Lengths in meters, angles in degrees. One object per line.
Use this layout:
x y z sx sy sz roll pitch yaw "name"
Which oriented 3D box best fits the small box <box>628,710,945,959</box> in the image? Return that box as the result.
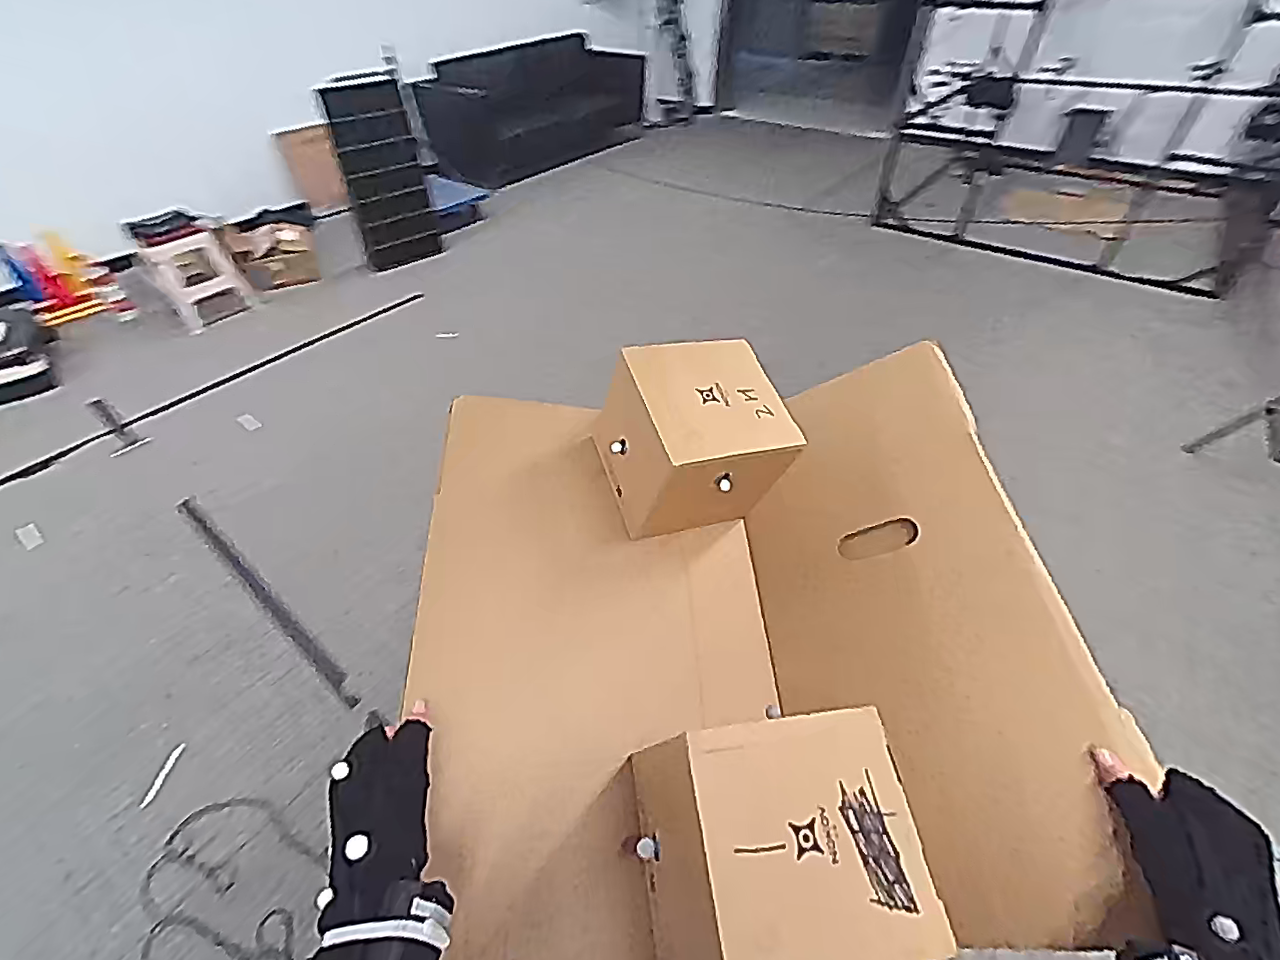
0.102 0.304 0.459 0.179 0.176 0.168 0 58 -17 "small box"
